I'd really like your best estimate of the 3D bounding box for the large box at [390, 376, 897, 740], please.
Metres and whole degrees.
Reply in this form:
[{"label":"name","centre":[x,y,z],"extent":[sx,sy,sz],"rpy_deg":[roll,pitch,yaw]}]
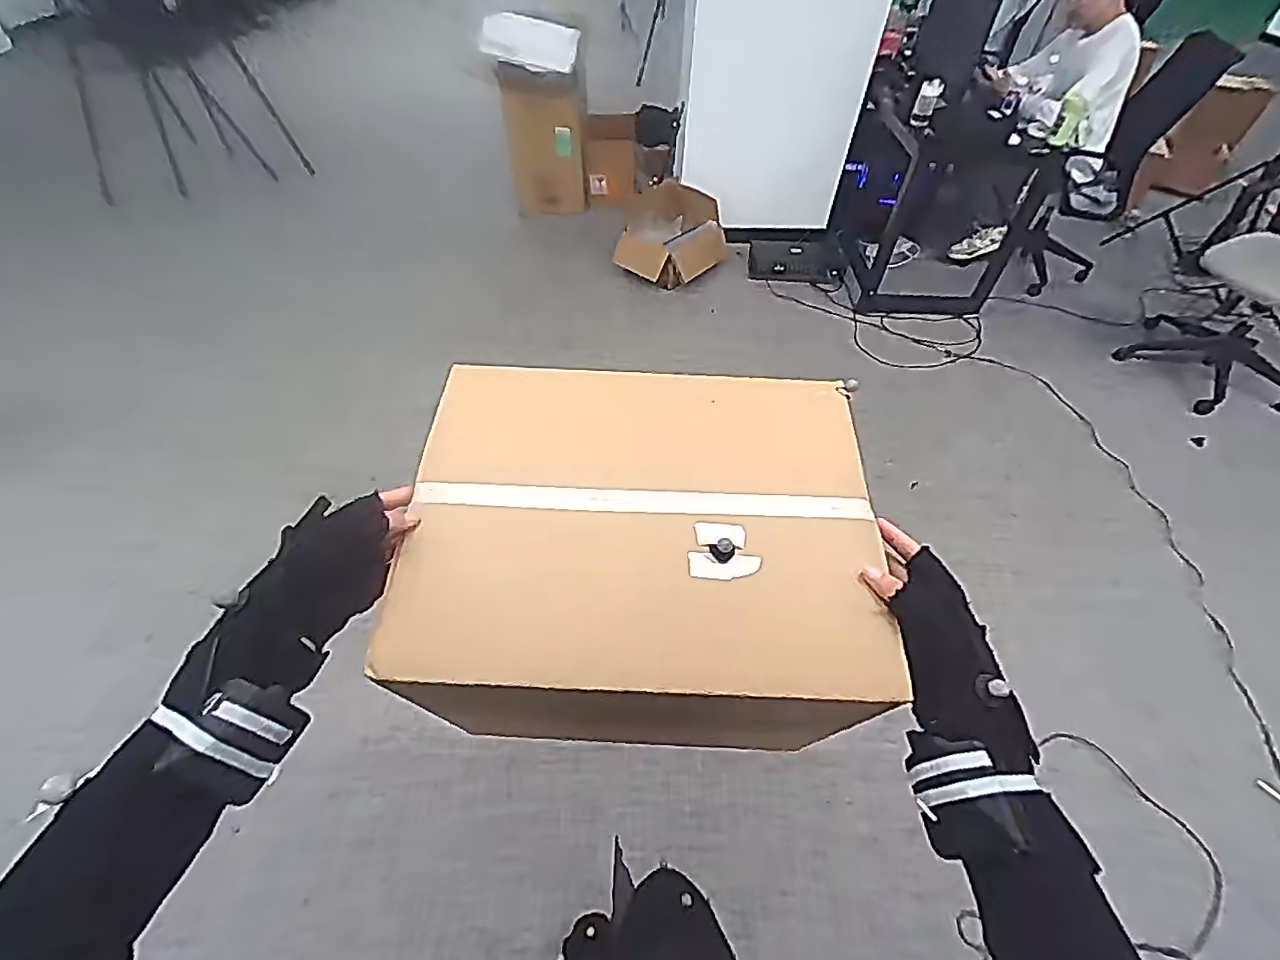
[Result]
[{"label":"large box","centre":[0.002,0.105,0.621],"extent":[0.408,0.320,0.320],"rpy_deg":[3,58,0]}]
